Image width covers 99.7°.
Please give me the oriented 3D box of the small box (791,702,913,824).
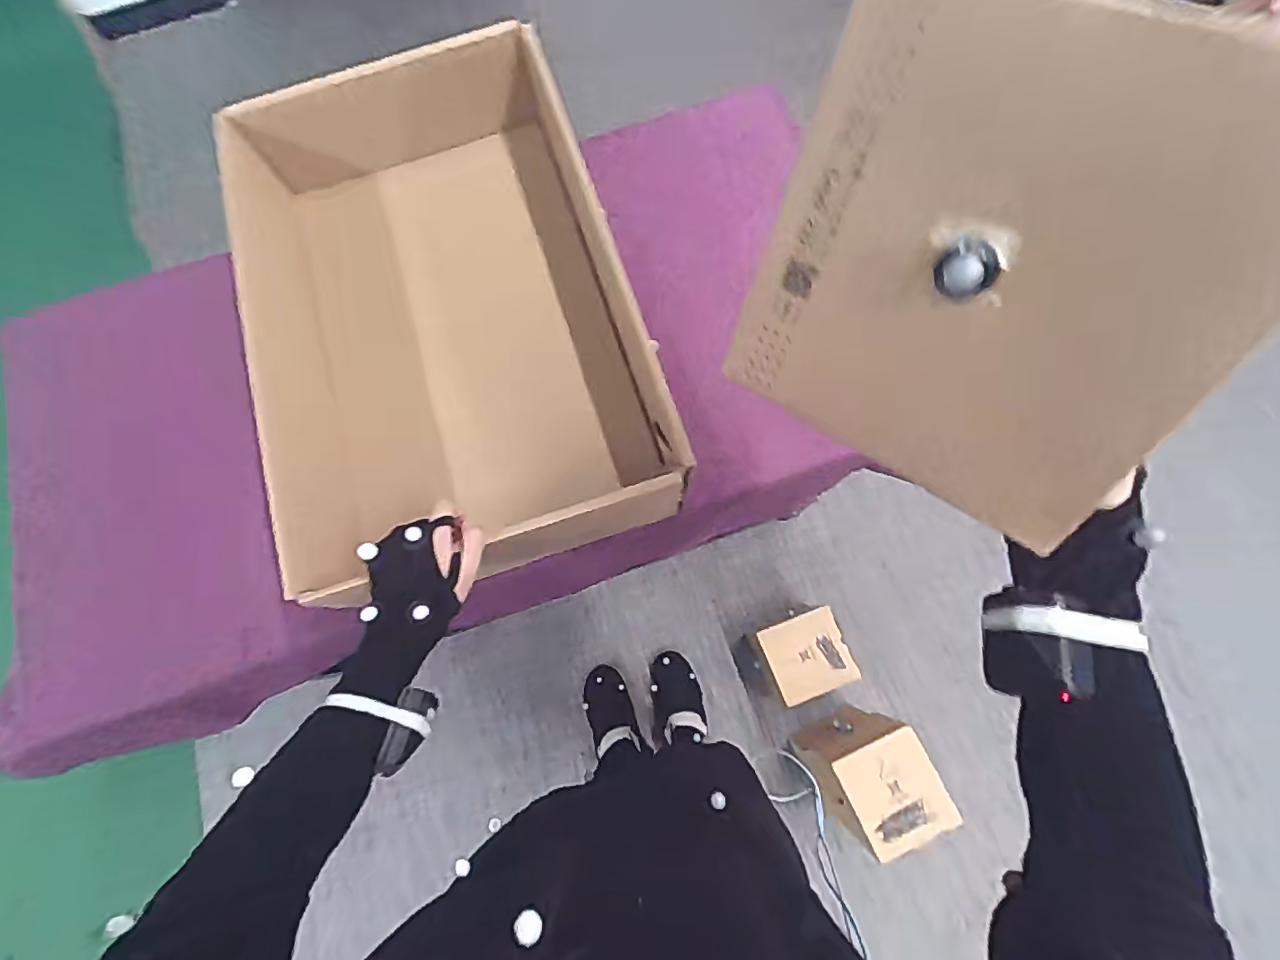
[{"bbox_3d":[0.452,0.613,1.194,0.179,0.176,0.168,-24,75,-4],"label":"small box"}]
